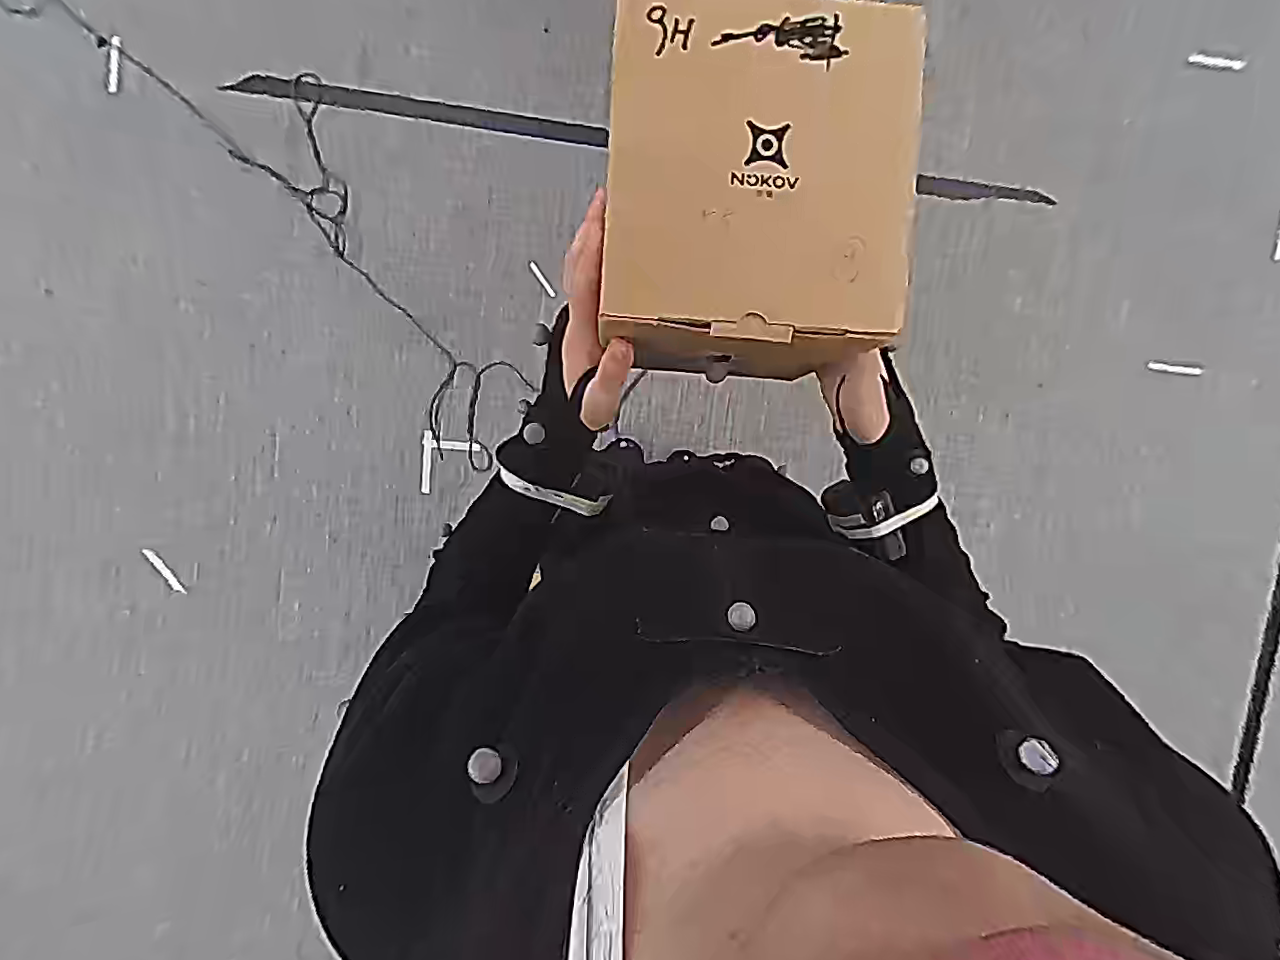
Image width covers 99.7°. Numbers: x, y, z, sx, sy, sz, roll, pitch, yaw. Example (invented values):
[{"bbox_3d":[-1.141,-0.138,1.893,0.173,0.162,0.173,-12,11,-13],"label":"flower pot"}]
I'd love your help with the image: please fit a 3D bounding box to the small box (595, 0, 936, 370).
[{"bbox_3d":[0.060,-0.172,0.358,0.168,0.176,0.179,3,94,-4],"label":"small box"}]
